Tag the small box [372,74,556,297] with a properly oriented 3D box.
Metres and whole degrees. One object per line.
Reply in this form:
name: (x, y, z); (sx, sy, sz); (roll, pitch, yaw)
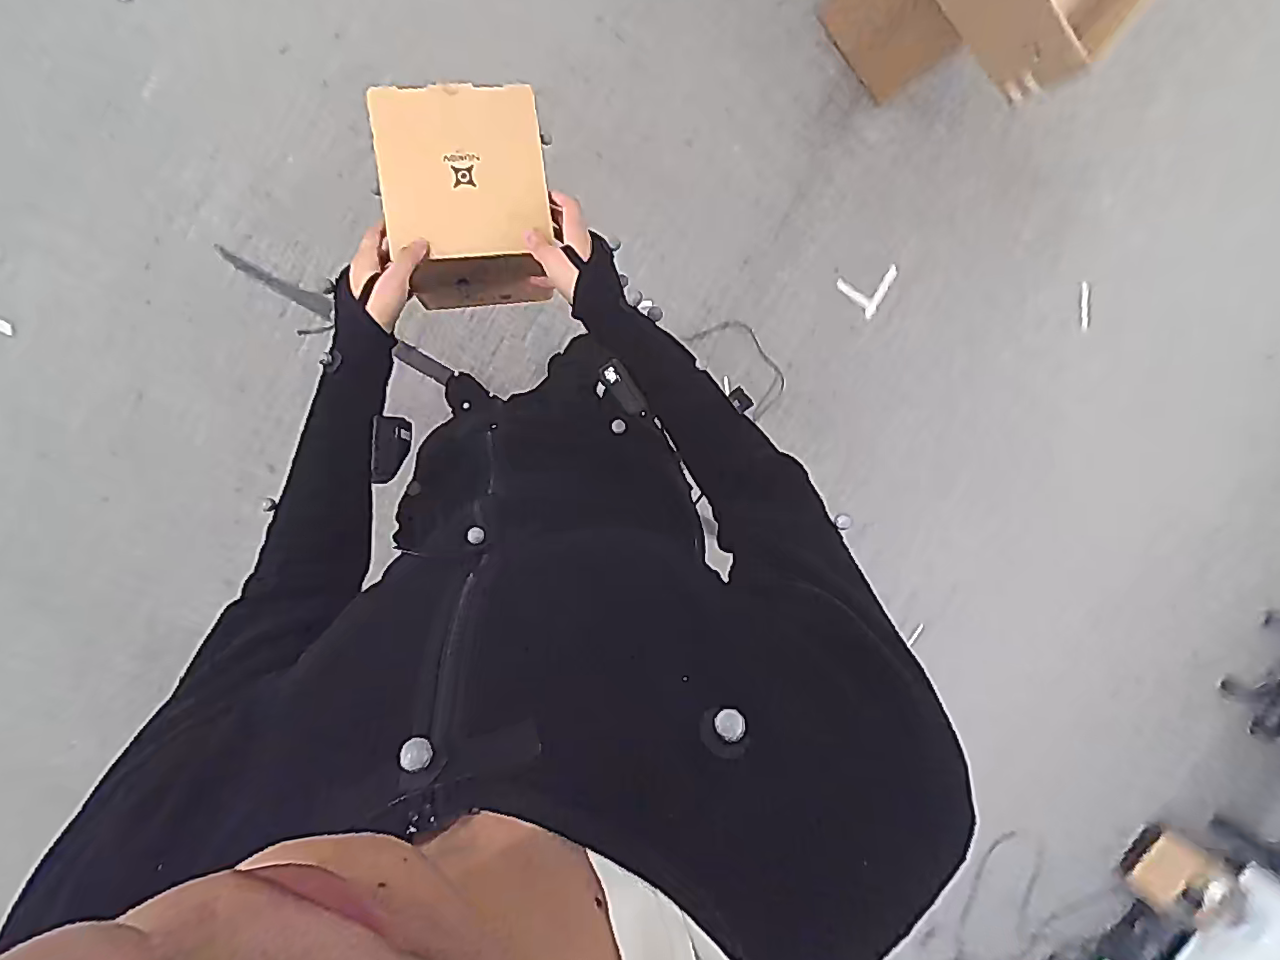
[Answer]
small box: (-0.186, -0.319, 0.621); (0.168, 0.176, 0.179); (-7, 92, -10)
